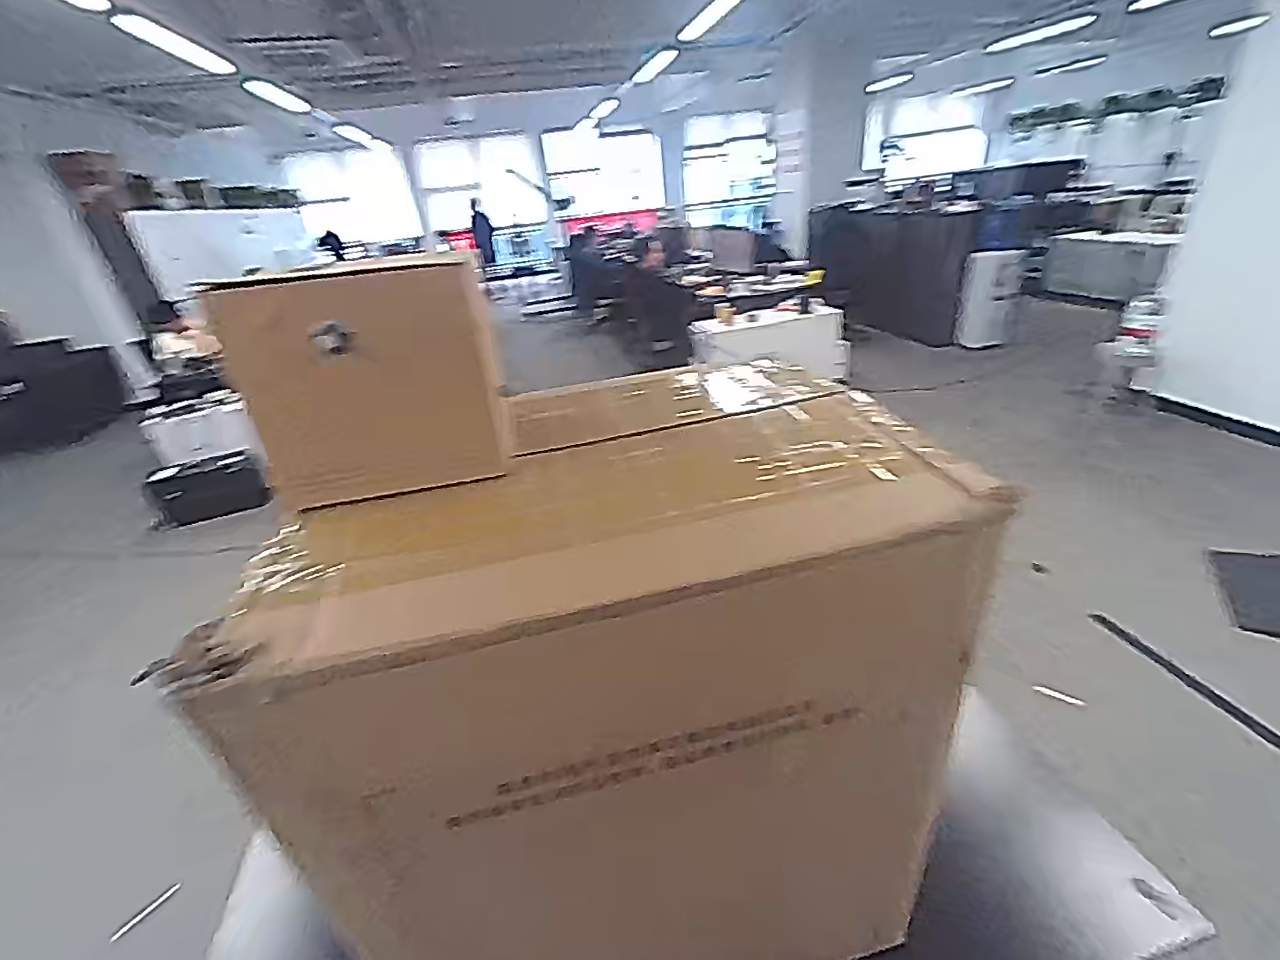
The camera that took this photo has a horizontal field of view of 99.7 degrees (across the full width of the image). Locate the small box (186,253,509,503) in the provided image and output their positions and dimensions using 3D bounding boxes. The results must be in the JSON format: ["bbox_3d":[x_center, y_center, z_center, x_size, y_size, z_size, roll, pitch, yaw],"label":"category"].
[{"bbox_3d":[-0.218,-0.093,0.464,0.179,0.176,0.168,-10,27,-9],"label":"small box"}]
